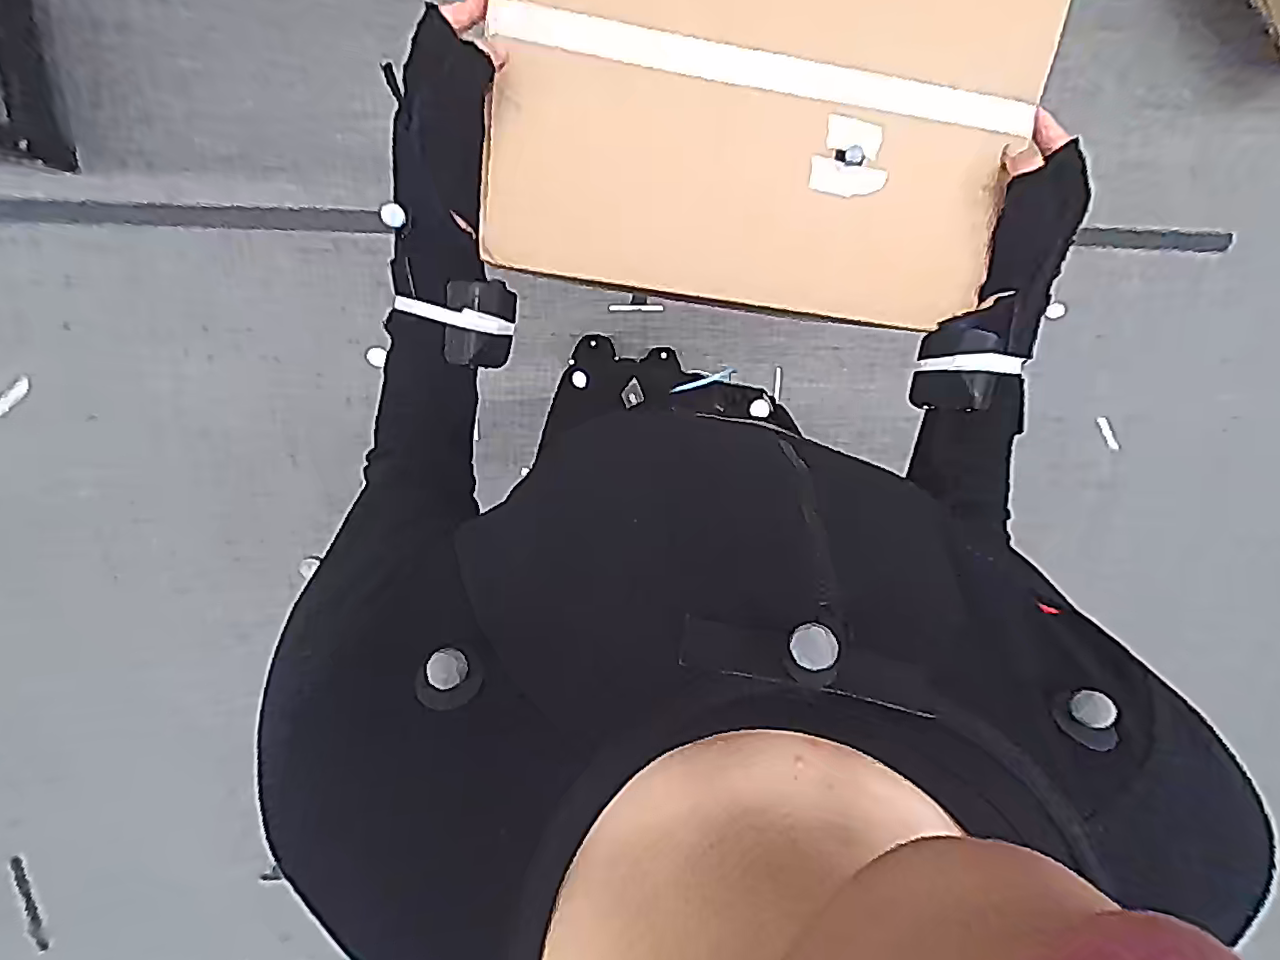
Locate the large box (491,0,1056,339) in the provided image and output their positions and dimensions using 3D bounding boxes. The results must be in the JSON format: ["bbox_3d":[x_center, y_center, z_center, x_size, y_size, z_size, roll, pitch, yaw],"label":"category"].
[{"bbox_3d":[0.083,-0.334,0.543,0.408,0.320,0.320,7,109,-7],"label":"large box"}]
